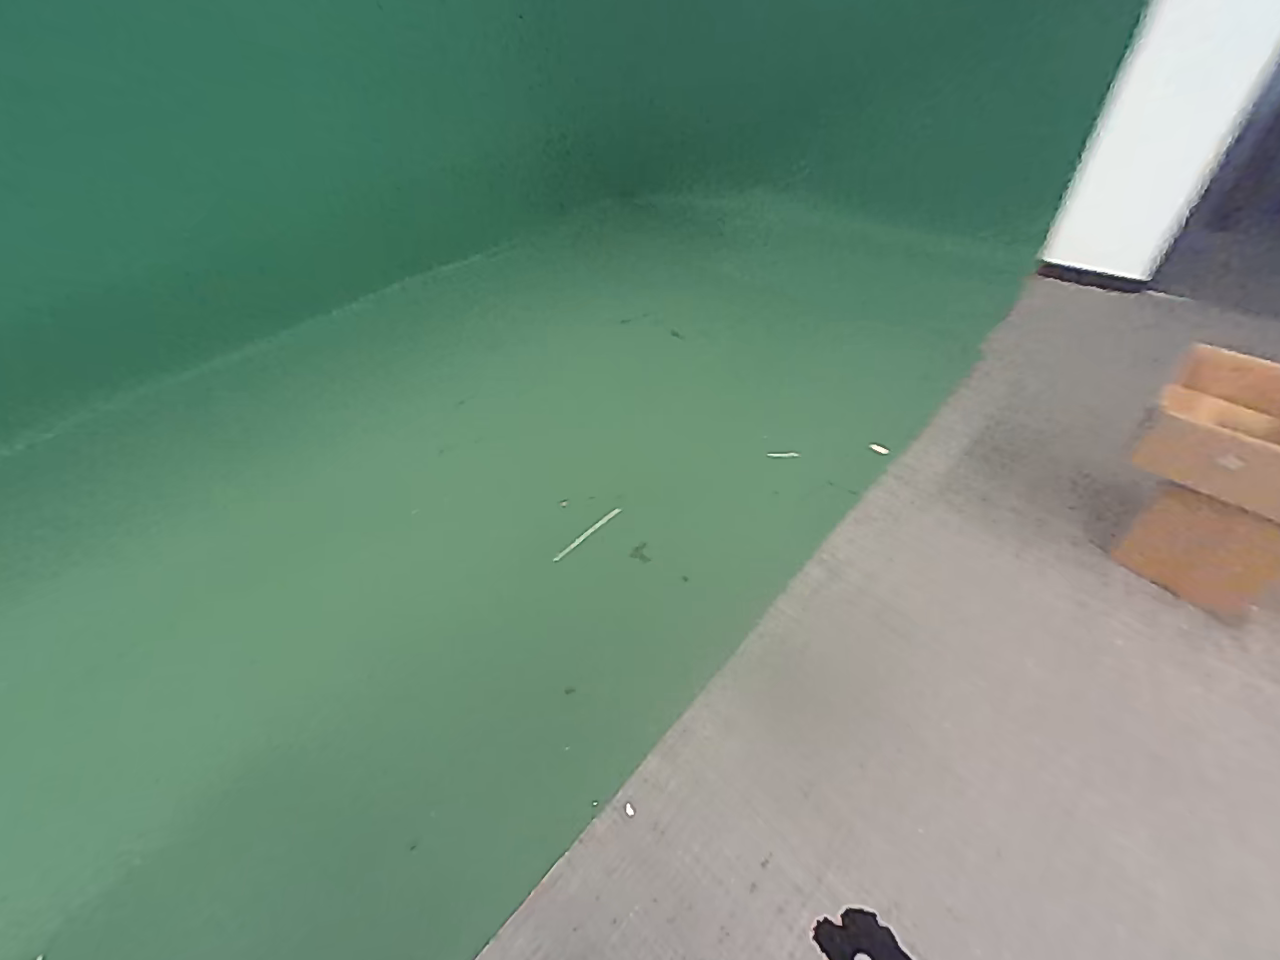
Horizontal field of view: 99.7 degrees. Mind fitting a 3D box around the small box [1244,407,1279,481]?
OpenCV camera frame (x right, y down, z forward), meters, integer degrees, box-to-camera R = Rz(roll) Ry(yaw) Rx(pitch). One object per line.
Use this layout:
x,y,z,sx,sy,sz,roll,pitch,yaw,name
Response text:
1.639,-0.089,1.314,0.168,0.176,0.179,32,54,30,small box
